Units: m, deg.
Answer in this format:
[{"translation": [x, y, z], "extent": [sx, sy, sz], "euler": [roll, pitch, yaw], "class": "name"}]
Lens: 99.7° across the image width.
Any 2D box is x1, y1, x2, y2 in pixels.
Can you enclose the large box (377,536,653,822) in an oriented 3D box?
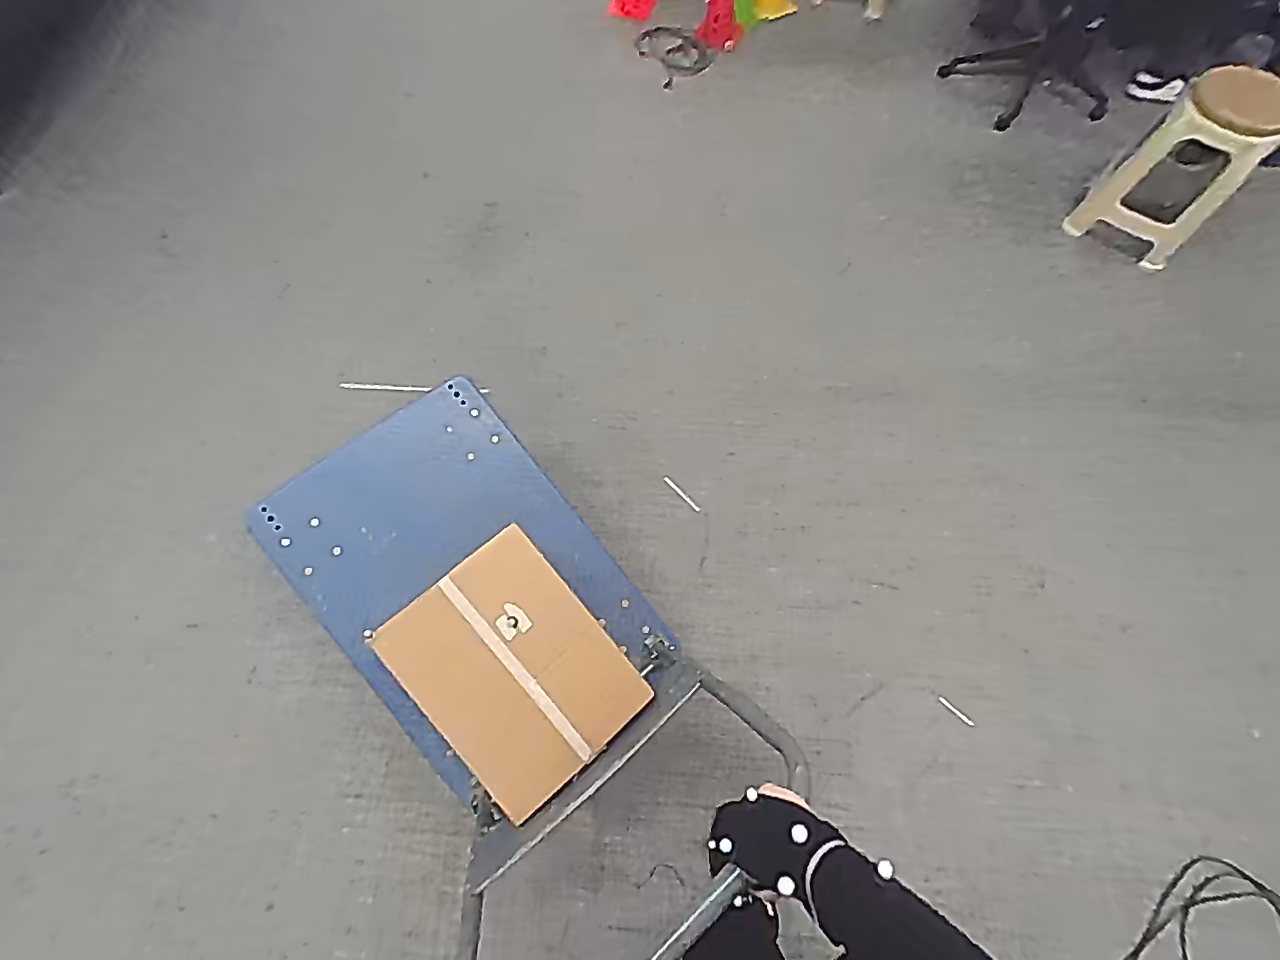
[{"translation": [-0.235, 0.369, 1.102], "extent": [0.320, 0.320, 0.408], "euler": [-40, 88, -14], "class": "large box"}]
